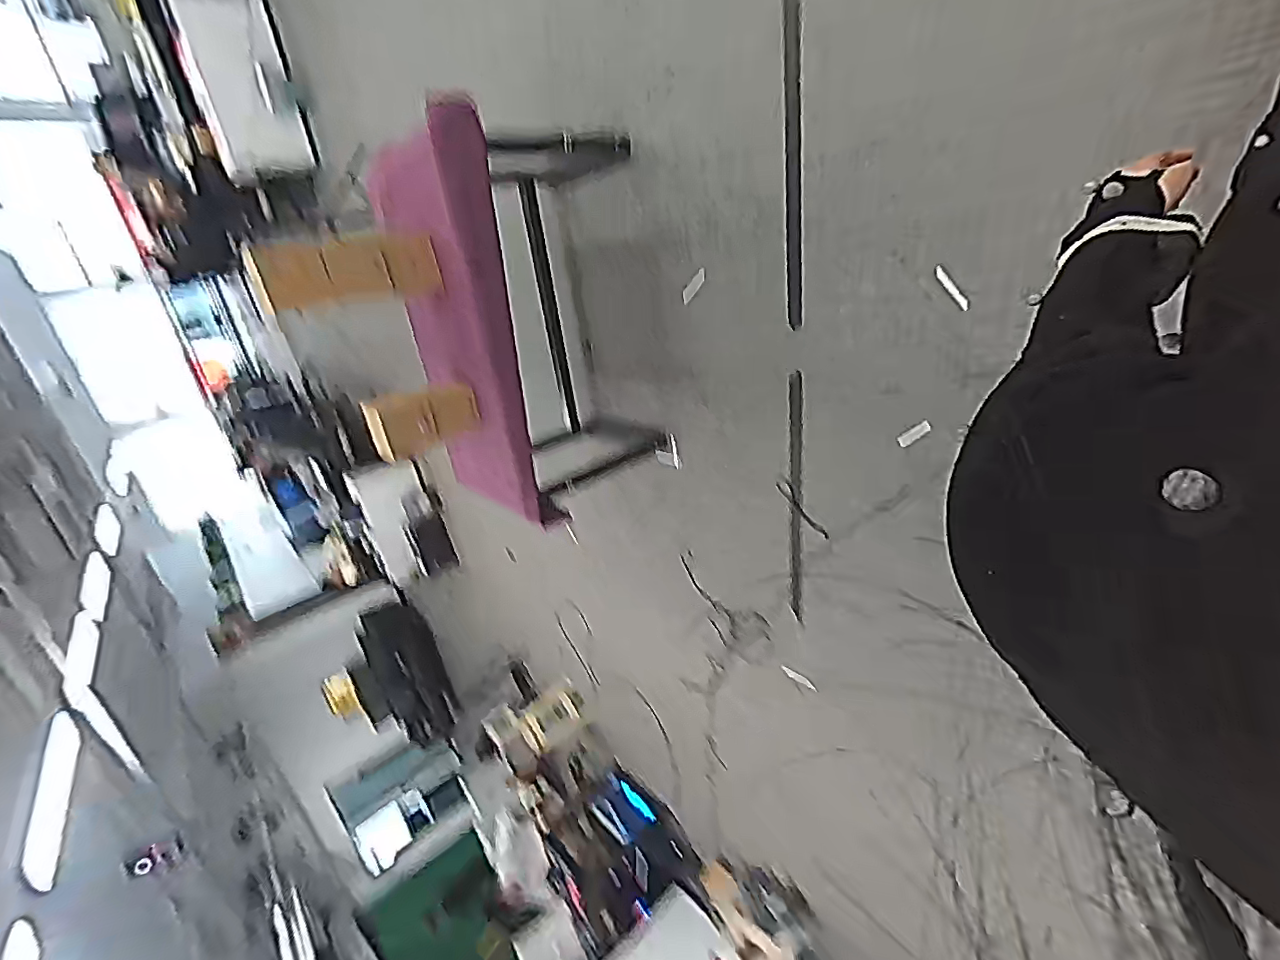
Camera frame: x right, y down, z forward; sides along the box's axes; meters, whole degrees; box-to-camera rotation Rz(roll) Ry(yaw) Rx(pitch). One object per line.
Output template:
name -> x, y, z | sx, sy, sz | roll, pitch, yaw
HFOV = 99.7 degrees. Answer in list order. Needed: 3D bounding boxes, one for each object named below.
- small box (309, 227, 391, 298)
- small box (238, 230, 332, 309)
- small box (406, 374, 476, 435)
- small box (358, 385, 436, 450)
small box -> -0.880, -0.655, 1.626 | 0.168, 0.176, 0.179 | 13, 121, 49
small box -> -1.006, -0.597, 1.539 | 0.168, 0.176, 0.179 | 14, 122, 48
small box -> -0.700, -0.274, 1.918 | 0.179, 0.176, 0.168 | 19, 125, 46
small box -> -0.812, -0.215, 1.815 | 0.179, 0.176, 0.168 | 17, 125, 45
